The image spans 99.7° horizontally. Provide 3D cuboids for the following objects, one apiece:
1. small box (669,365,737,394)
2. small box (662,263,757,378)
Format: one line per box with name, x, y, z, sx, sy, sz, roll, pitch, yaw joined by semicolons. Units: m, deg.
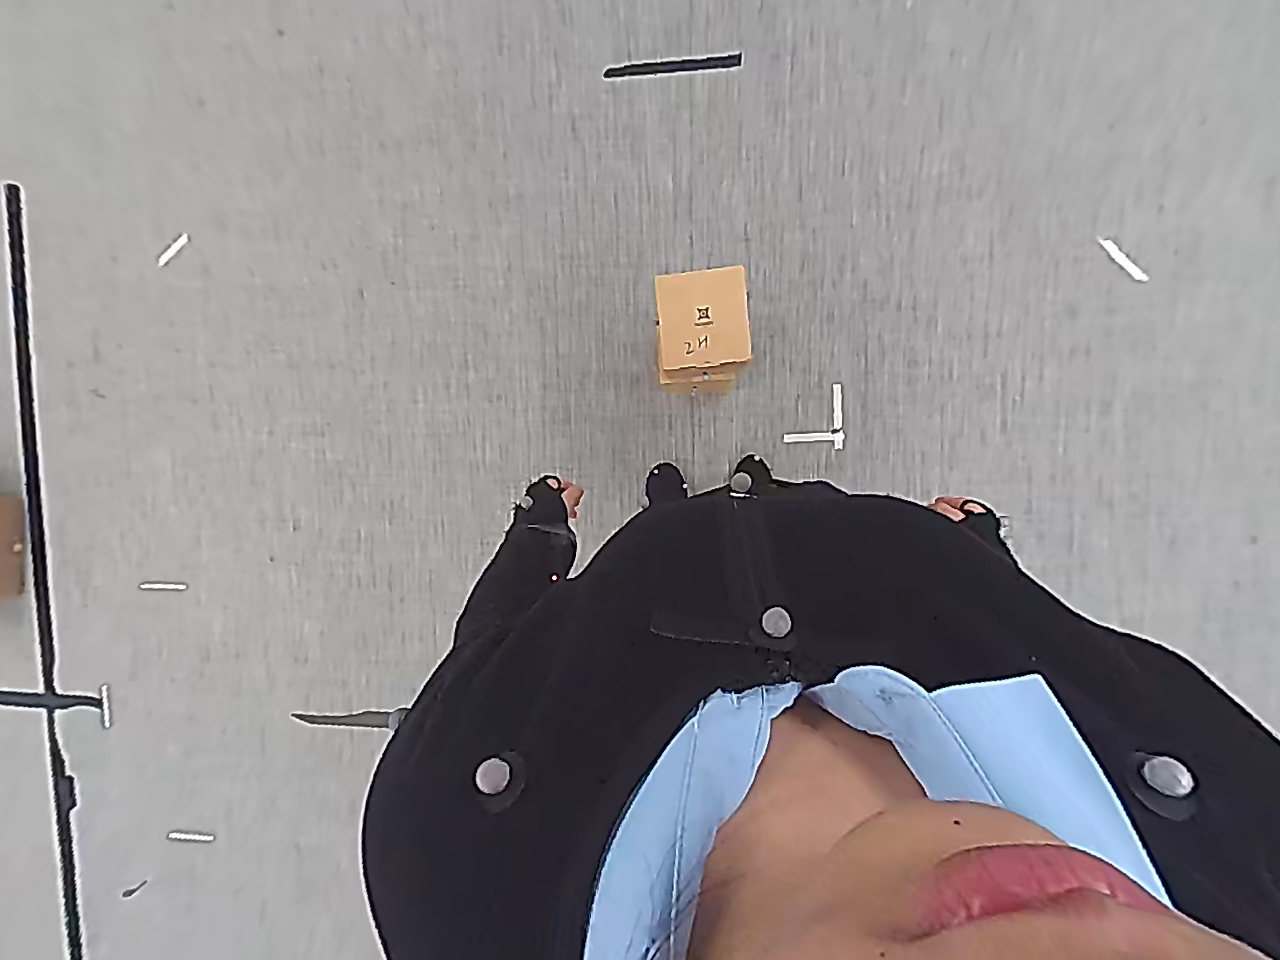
small box;0.158;-0.321;1.394;0.168;0.176;0.179;-2;94;5
small box;0.133;-0.306;1.065;0.168;0.176;0.179;-5;94;6
